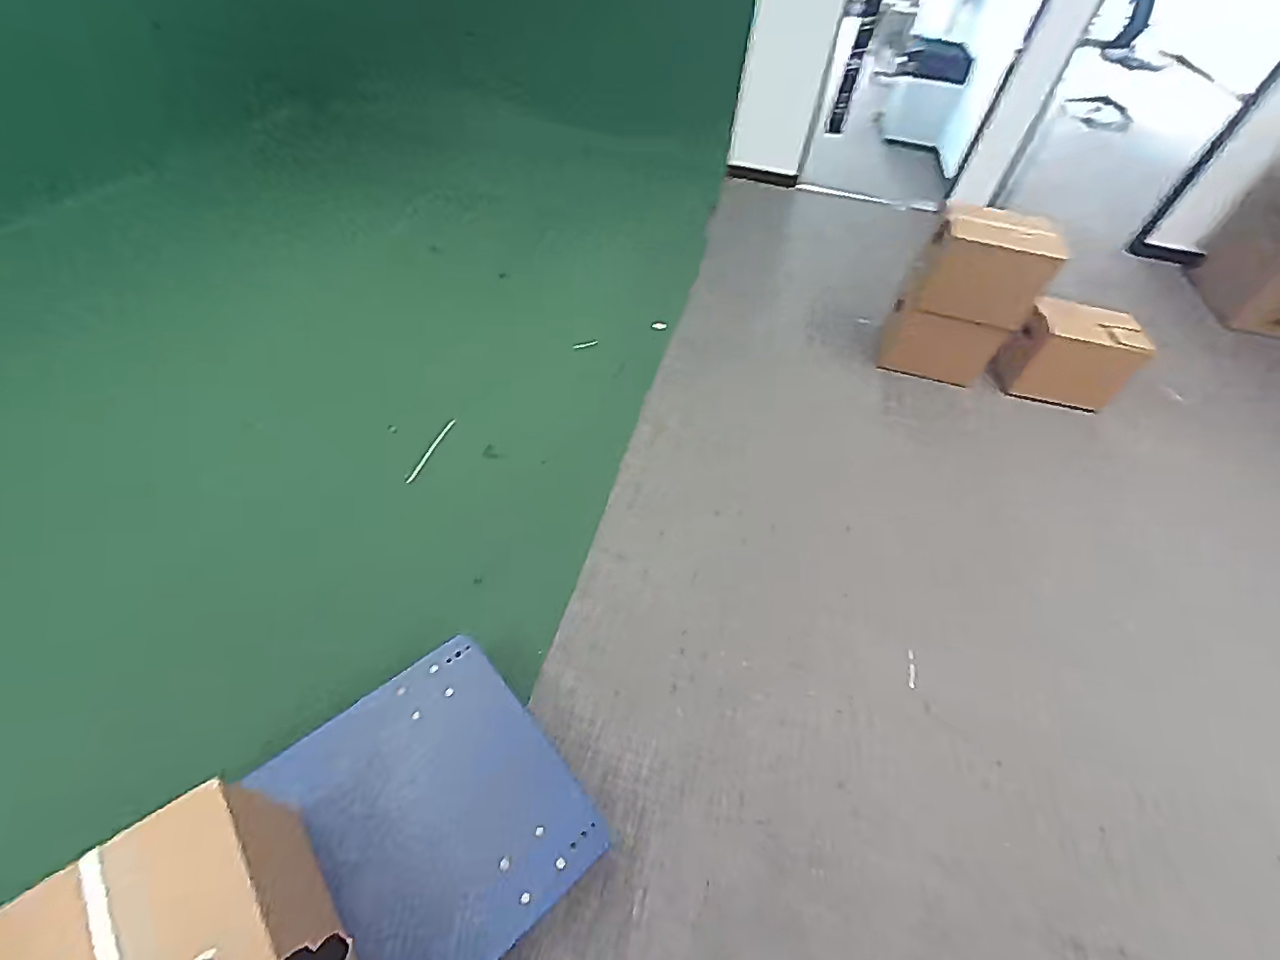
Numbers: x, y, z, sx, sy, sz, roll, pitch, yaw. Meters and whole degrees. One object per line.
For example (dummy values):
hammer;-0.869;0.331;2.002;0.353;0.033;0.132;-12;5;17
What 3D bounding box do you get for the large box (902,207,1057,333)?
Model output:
large box;1.319;-0.832;2.148;0.408;0.320;0.320;15;52;5
